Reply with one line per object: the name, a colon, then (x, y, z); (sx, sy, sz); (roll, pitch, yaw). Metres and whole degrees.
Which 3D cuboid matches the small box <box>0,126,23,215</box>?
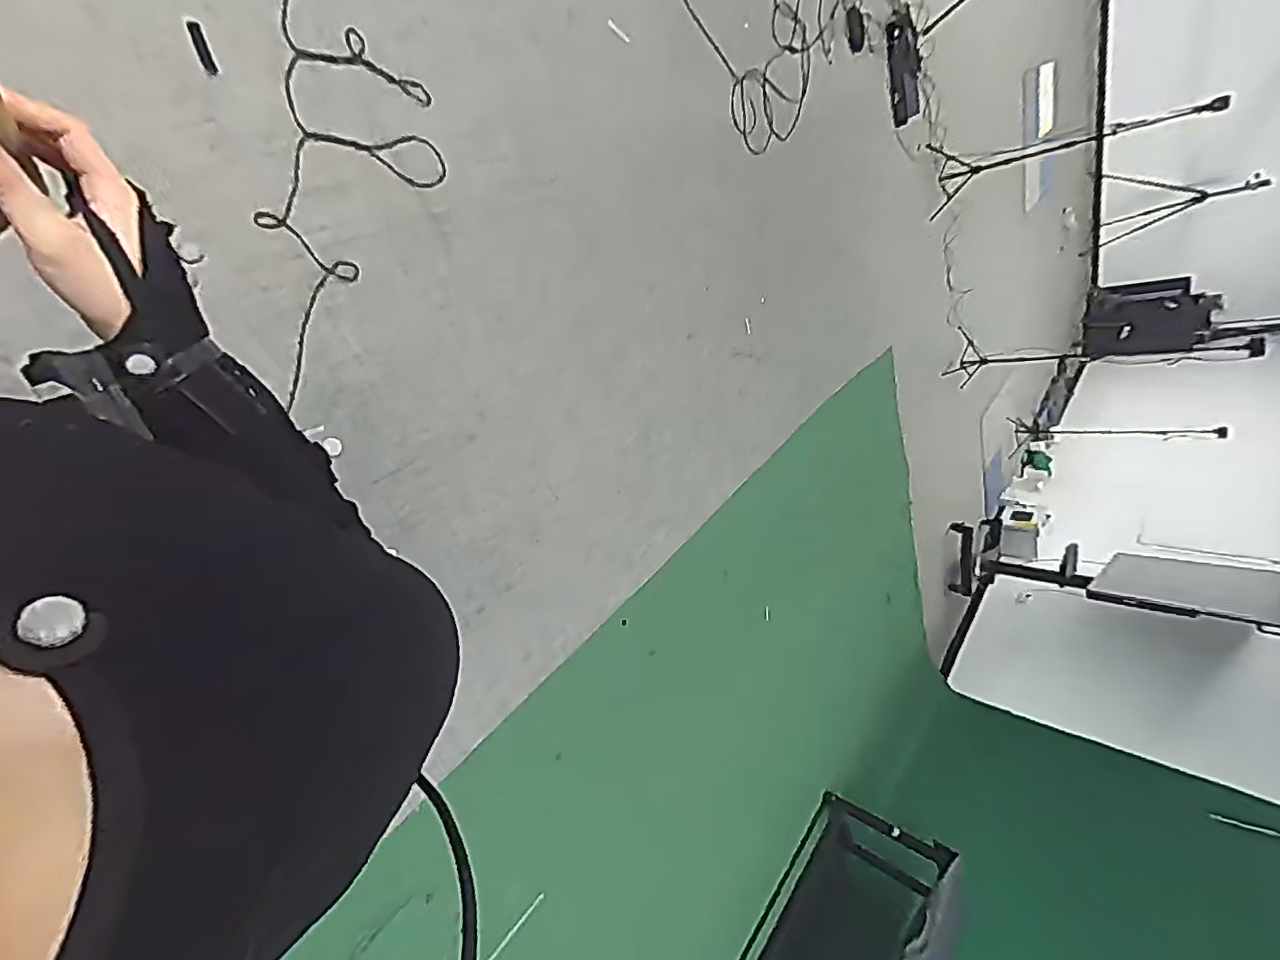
small box: (-0.409, -0.159, 0.203); (0.168, 0.176, 0.179); (42, 67, -33)
